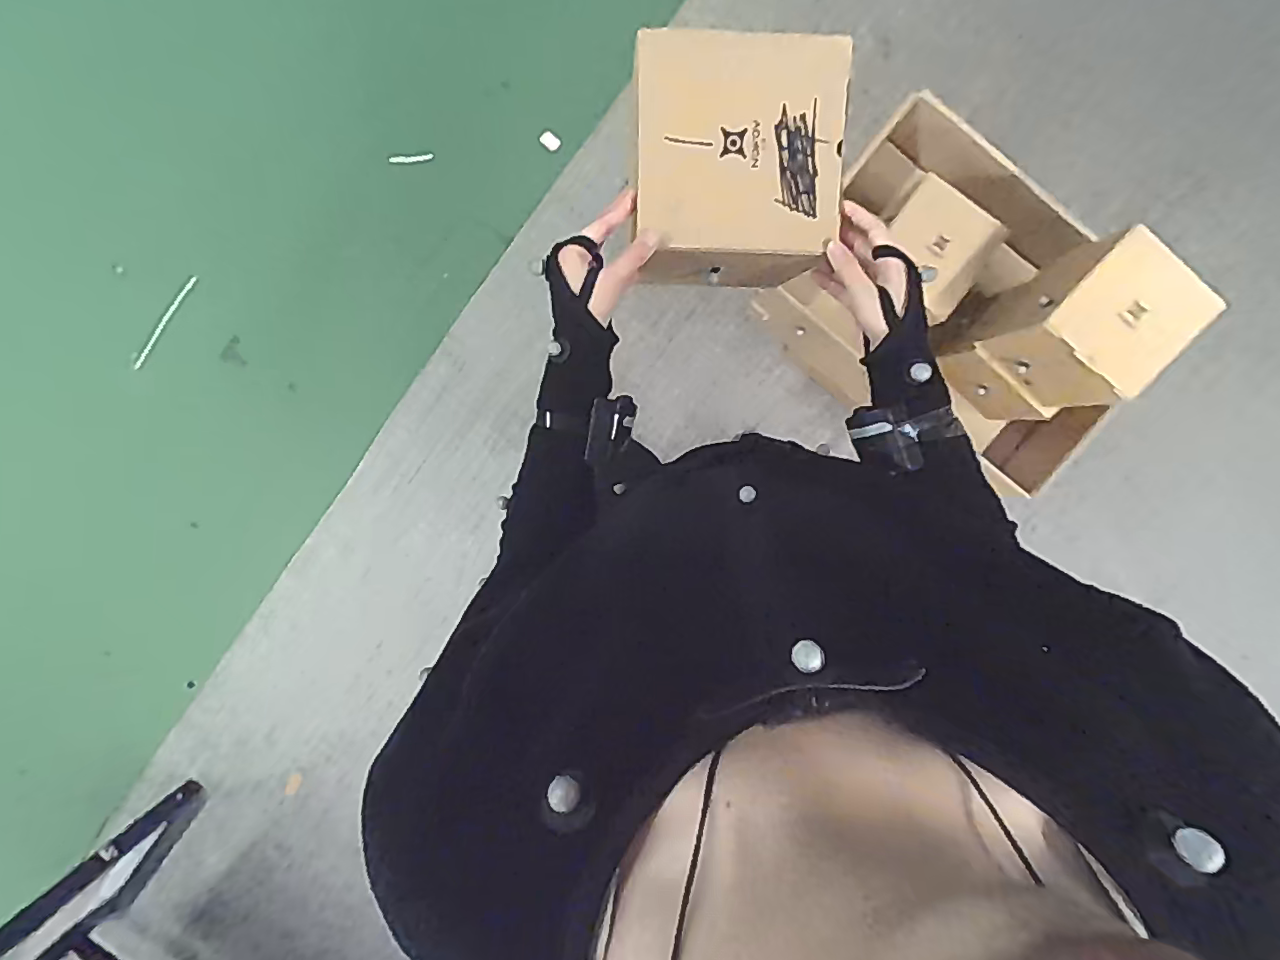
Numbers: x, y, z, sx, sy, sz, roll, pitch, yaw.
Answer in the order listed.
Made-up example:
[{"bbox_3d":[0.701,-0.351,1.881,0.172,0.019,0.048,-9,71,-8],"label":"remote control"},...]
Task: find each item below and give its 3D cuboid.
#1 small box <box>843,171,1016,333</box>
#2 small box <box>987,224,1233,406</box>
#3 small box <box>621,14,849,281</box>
[{"bbox_3d":[0.490,-0.384,0.947,0.168,0.176,0.179,35,96,-2],"label":"small box"},{"bbox_3d":[0.669,-0.227,0.796,0.168,0.176,0.179,42,95,-2],"label":"small box"},{"bbox_3d":[0.073,-0.292,0.515,0.179,0.176,0.168,0,99,-3],"label":"small box"}]
